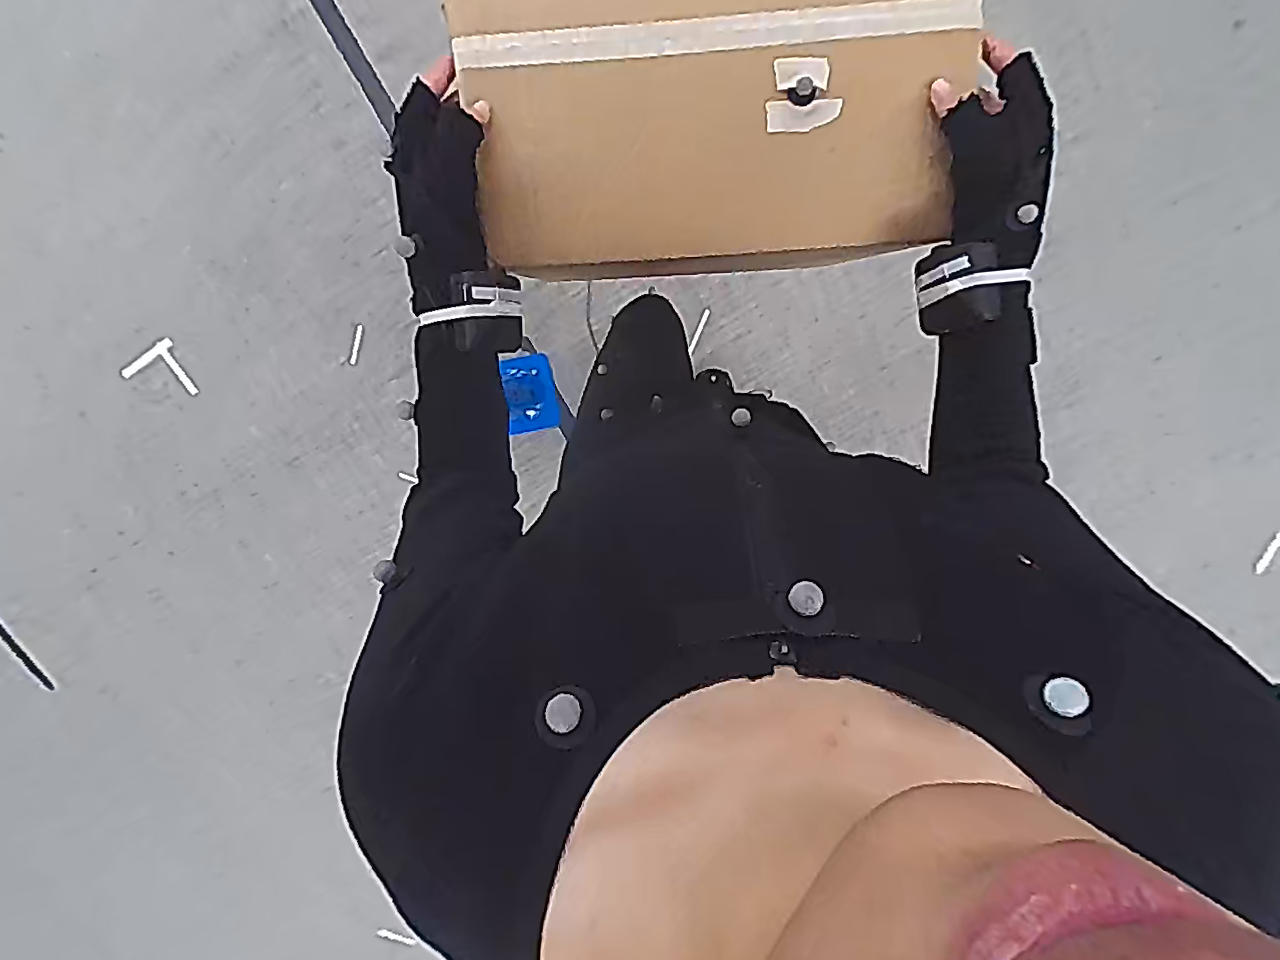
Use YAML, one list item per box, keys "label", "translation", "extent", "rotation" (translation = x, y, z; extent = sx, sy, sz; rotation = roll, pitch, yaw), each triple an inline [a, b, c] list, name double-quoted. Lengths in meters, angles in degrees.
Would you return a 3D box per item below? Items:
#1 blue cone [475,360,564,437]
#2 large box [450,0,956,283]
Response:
- label: "blue cone"
  translation: [-0.321, -0.189, 1.307]
  extent: [0.193, 0.380, 0.192]
  rotation: [-8, 101, 5]
- label: "large box"
  translation: [0.050, -0.396, 0.572]
  extent: [0.408, 0.320, 0.320]
  rotation: [-4, 108, 1]
